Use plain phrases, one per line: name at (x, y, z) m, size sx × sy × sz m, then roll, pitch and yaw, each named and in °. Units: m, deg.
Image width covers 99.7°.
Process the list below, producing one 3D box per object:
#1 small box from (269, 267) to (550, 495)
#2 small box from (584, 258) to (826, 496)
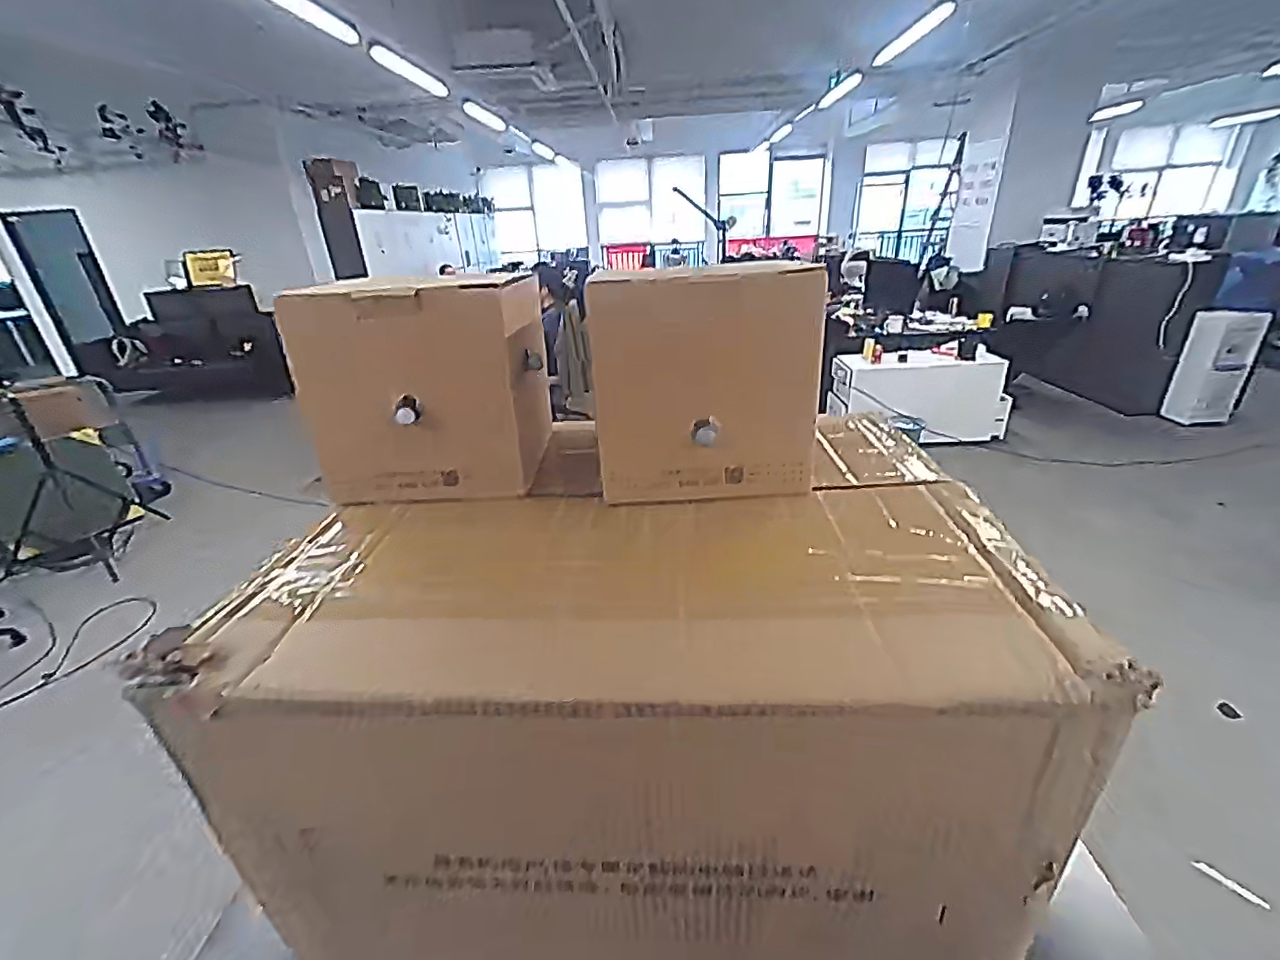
small box at (-0.179, -0.092, 0.488) m, size 0.168 × 0.176 × 0.179 m, roll -3°, pitch 25°, yaw -1°
small box at (0.048, -0.096, 0.467) m, size 0.168 × 0.176 × 0.179 m, roll -3°, pitch 24°, yaw 2°
